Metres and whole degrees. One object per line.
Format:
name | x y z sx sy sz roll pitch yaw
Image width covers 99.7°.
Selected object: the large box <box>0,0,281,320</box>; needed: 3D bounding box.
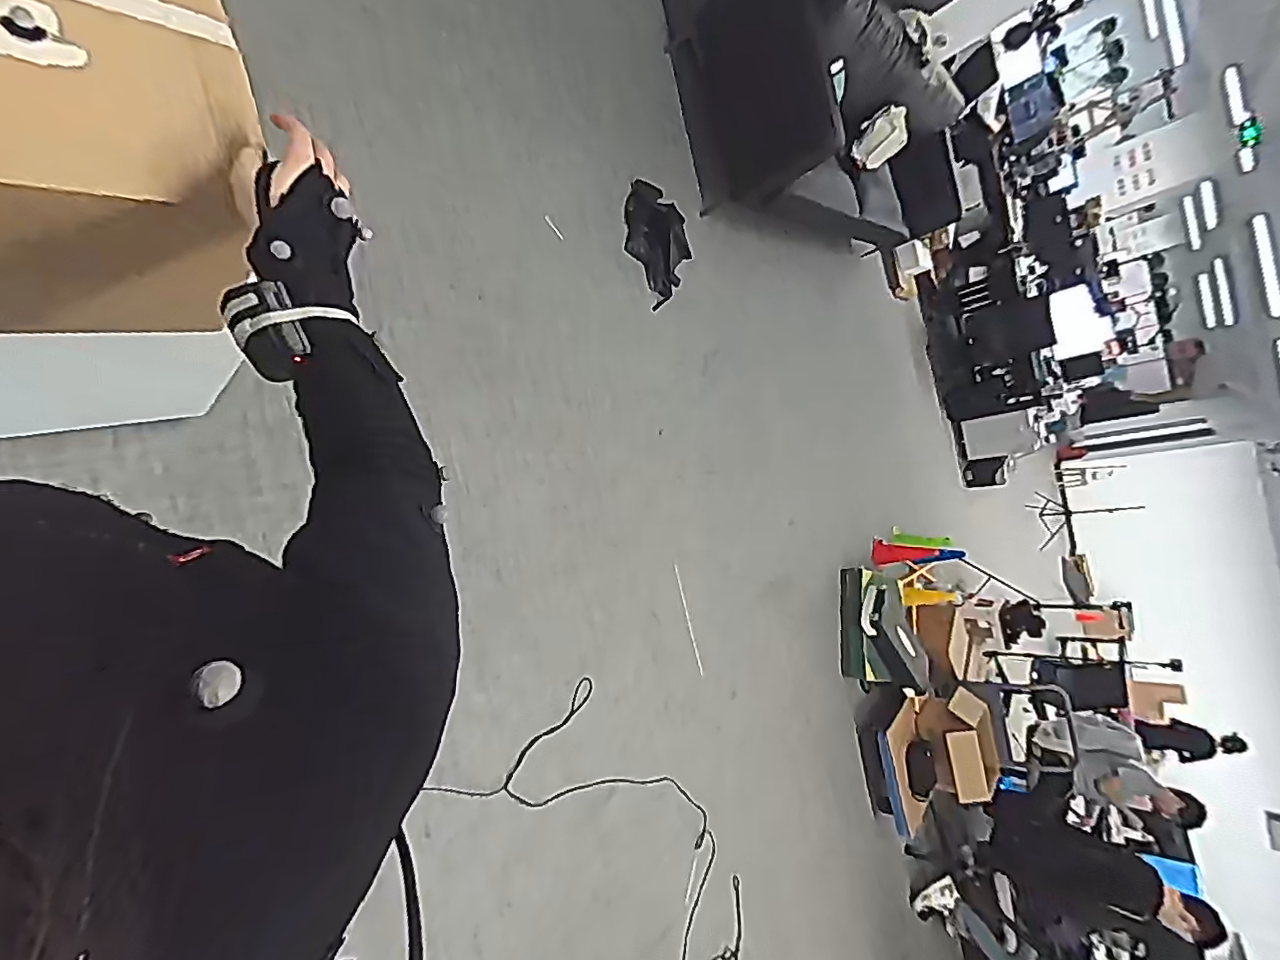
large box | -0.601 -0.330 0.439 0.408 0.320 0.320 -19 96 -48
